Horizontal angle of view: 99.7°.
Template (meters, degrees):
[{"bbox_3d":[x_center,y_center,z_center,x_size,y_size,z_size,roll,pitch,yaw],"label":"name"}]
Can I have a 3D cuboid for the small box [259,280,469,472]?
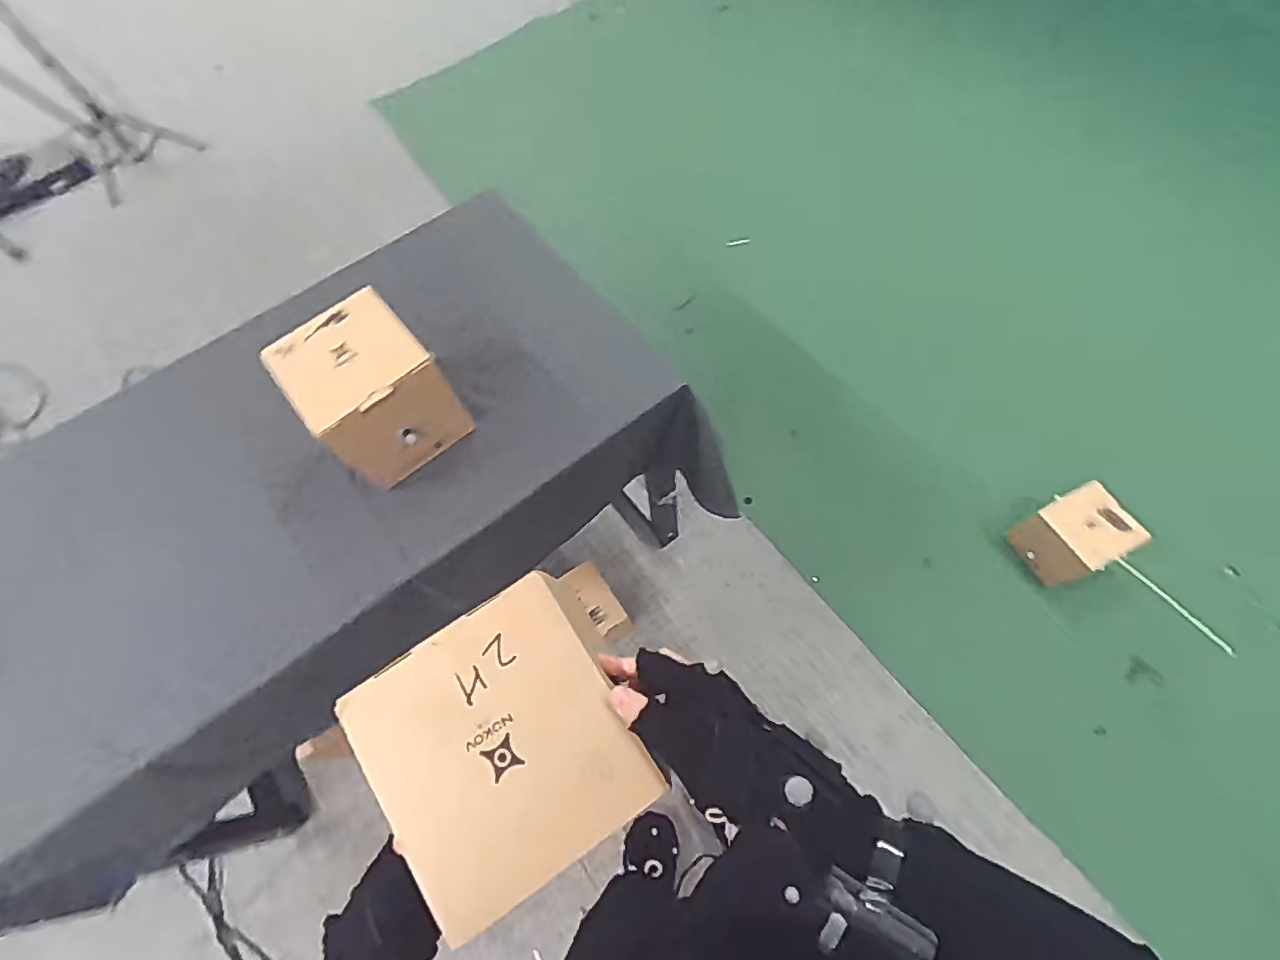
[{"bbox_3d":[-0.370,-0.132,0.756,0.168,0.176,0.179,-38,69,-13],"label":"small box"}]

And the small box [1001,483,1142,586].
[{"bbox_3d":[1.052,0.138,1.337,0.179,0.176,0.168,-26,65,-7],"label":"small box"}]

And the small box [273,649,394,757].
[{"bbox_3d":[-0.714,0.527,1.273,0.168,0.176,0.179,-29,66,-9],"label":"small box"}]
